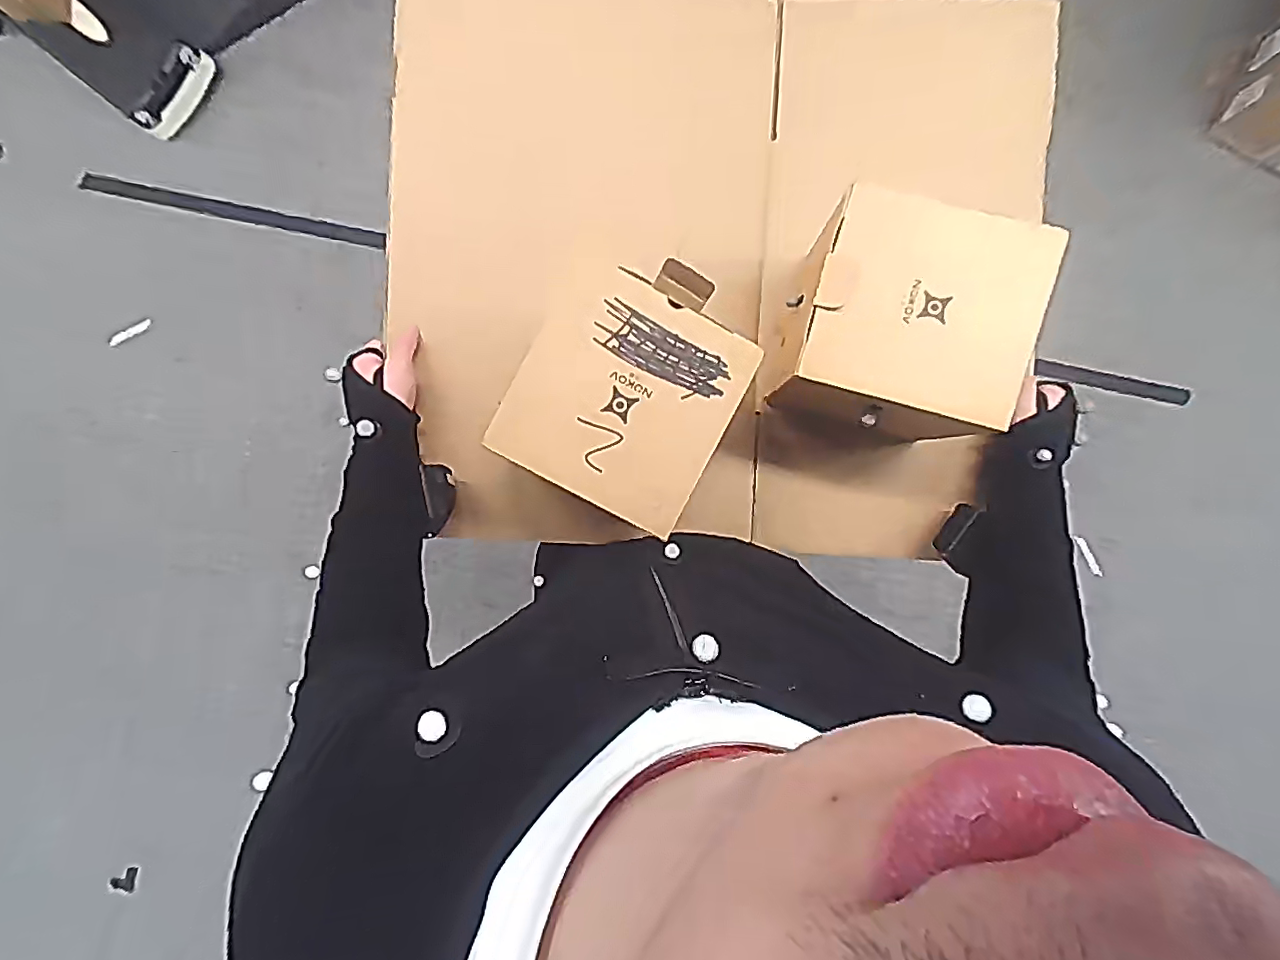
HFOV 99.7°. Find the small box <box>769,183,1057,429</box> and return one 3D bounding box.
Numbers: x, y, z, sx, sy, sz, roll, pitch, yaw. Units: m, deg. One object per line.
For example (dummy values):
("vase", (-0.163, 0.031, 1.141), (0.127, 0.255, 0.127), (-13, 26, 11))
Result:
("small box", (0.241, -0.150, 0.528), (0.179, 0.176, 0.168), (16, 93, 5))
